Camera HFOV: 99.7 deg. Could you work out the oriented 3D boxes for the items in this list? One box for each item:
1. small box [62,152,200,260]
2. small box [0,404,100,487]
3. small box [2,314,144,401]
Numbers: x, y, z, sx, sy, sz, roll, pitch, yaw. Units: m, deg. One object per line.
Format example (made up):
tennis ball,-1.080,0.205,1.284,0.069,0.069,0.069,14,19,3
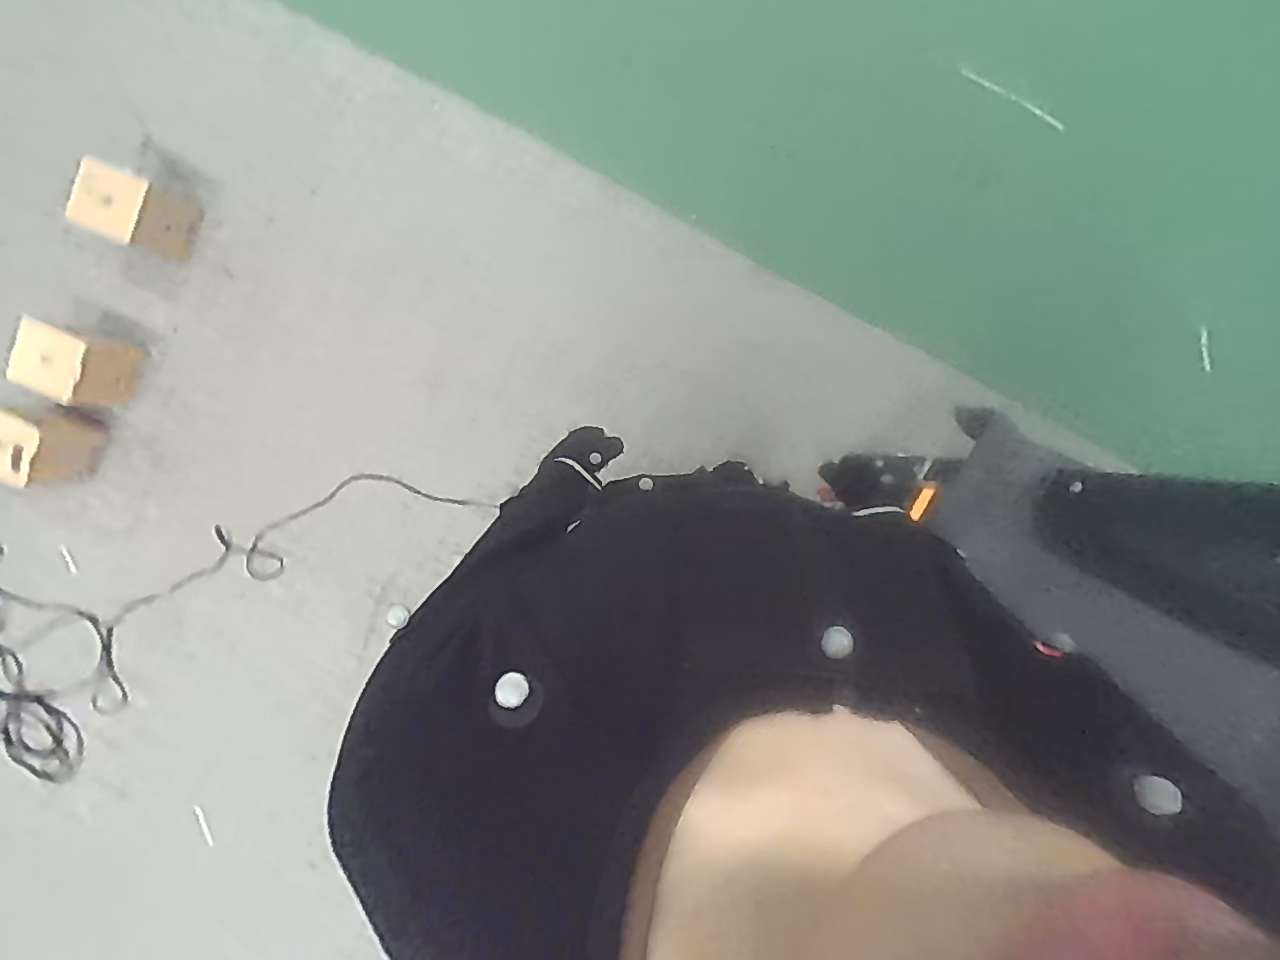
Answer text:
small box,-1.299,-0.694,1.394,0.179,0.176,0.168,23,94,0
small box,-1.626,-0.099,1.450,0.179,0.176,0.168,26,95,1
small box,-1.490,-0.314,1.430,0.179,0.176,0.168,23,95,-1
